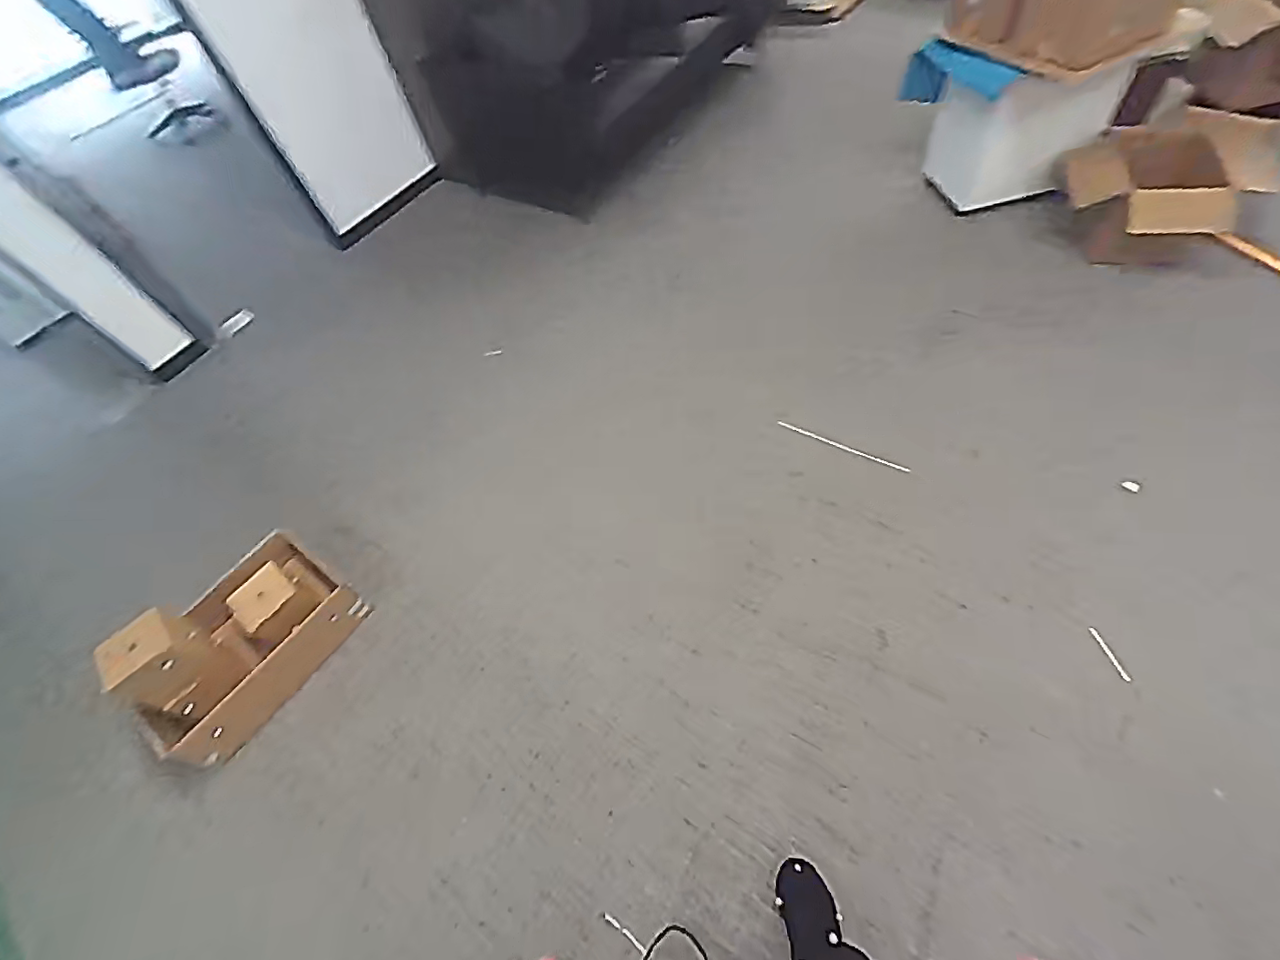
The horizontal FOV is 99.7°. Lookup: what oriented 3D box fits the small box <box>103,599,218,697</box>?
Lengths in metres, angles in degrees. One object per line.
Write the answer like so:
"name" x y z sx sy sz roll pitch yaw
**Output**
"small box" -1.343 0.477 1.528 0.179 0.176 0.168 -41 58 -17
